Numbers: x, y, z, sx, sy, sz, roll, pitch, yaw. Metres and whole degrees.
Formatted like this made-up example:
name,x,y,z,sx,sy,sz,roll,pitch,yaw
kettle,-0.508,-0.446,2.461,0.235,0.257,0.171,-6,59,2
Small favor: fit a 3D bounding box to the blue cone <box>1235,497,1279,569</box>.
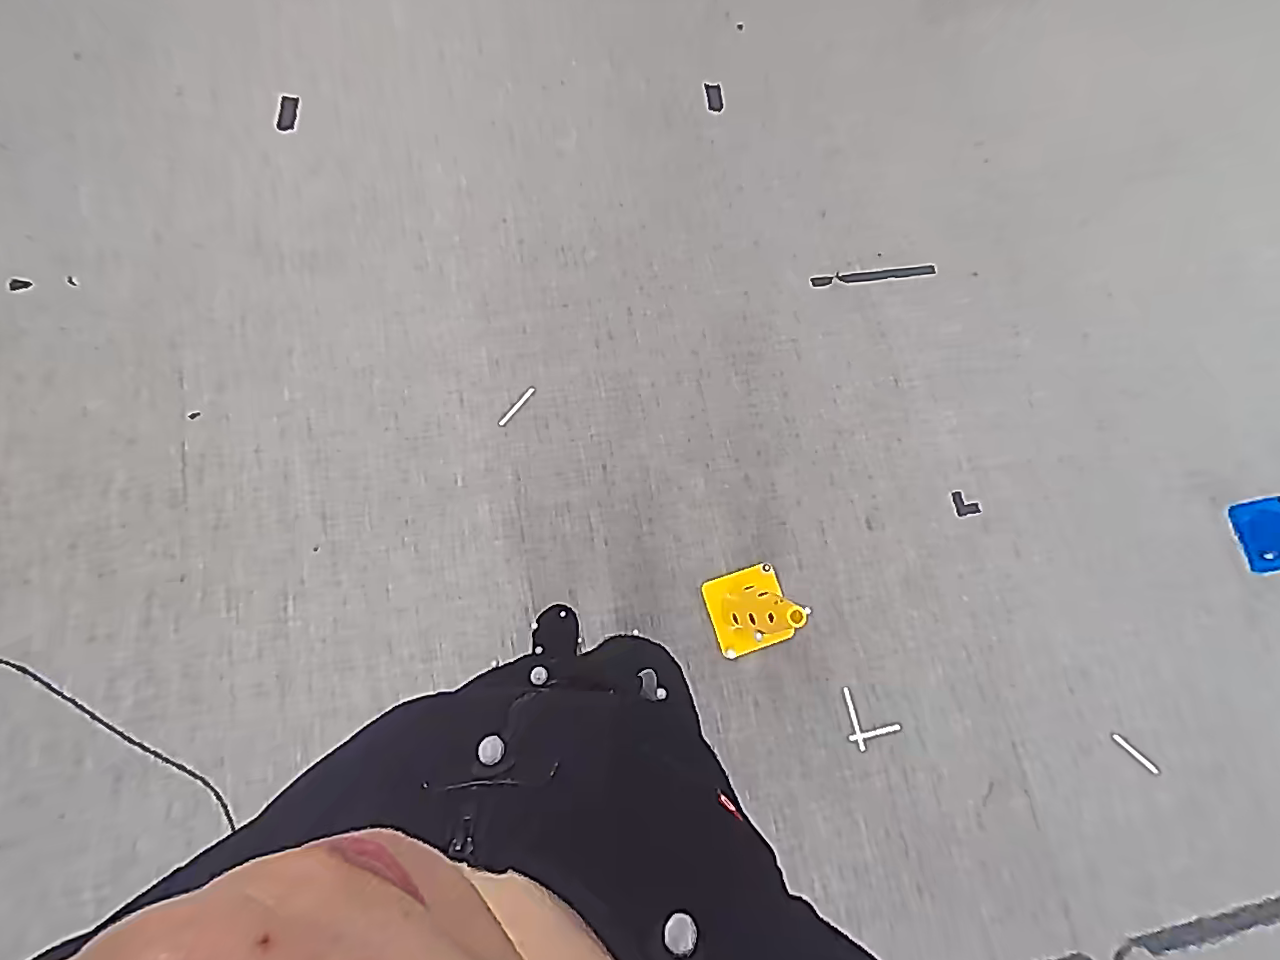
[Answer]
name,x,y,z,sx,sy,sz,roll,pitch,yaw
blue cone,1.813,0.114,1.375,0.193,0.380,0.192,-9,78,-6
